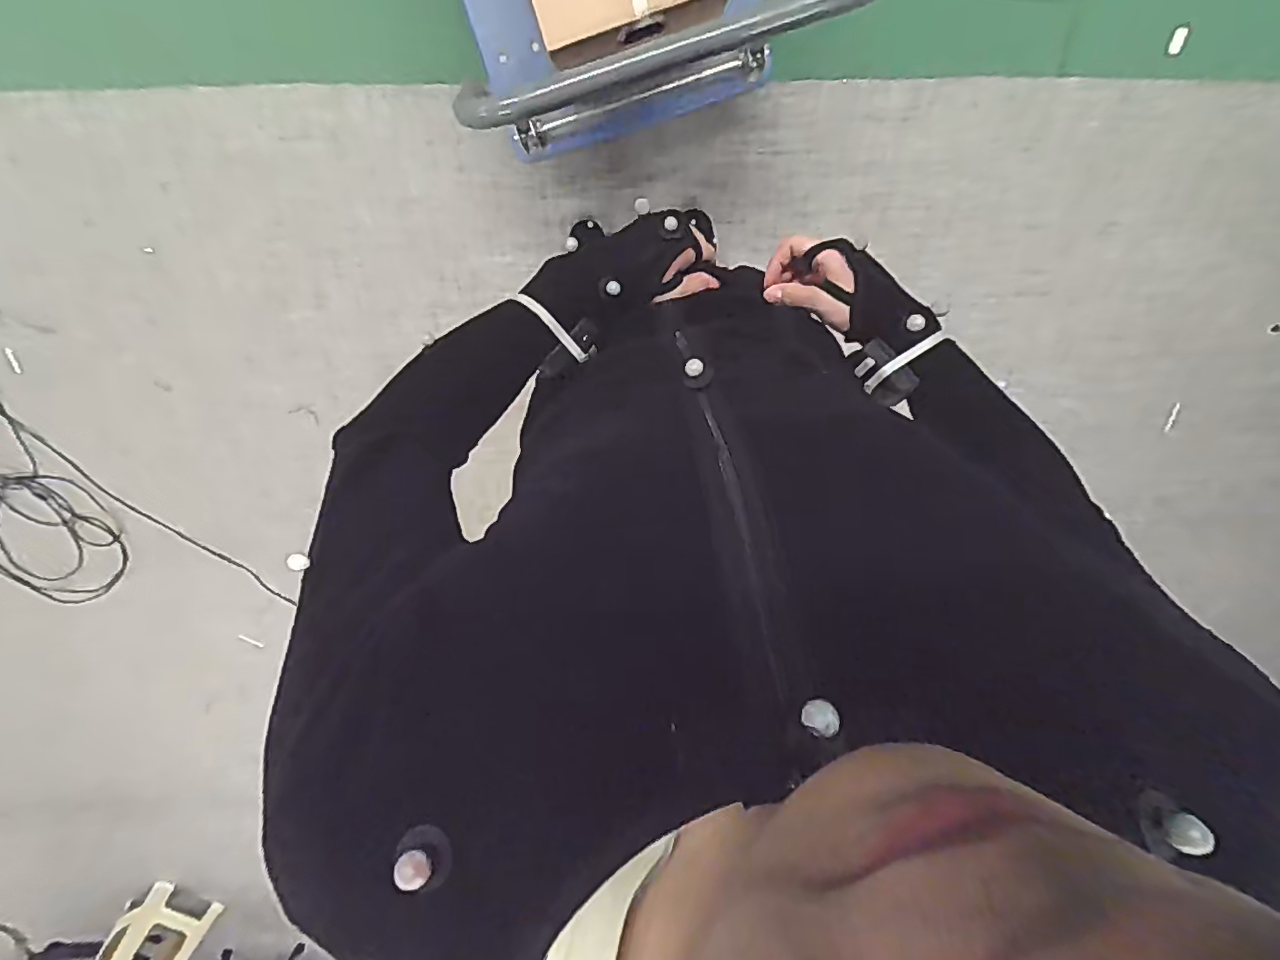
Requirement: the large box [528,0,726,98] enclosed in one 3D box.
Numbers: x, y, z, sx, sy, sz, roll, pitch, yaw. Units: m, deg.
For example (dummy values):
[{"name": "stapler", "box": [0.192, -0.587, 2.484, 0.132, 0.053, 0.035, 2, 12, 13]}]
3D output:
[{"name": "large box", "box": [-0.059, -0.950, 0.910, 0.320, 0.320, 0.408, -15, 115, 6]}]
